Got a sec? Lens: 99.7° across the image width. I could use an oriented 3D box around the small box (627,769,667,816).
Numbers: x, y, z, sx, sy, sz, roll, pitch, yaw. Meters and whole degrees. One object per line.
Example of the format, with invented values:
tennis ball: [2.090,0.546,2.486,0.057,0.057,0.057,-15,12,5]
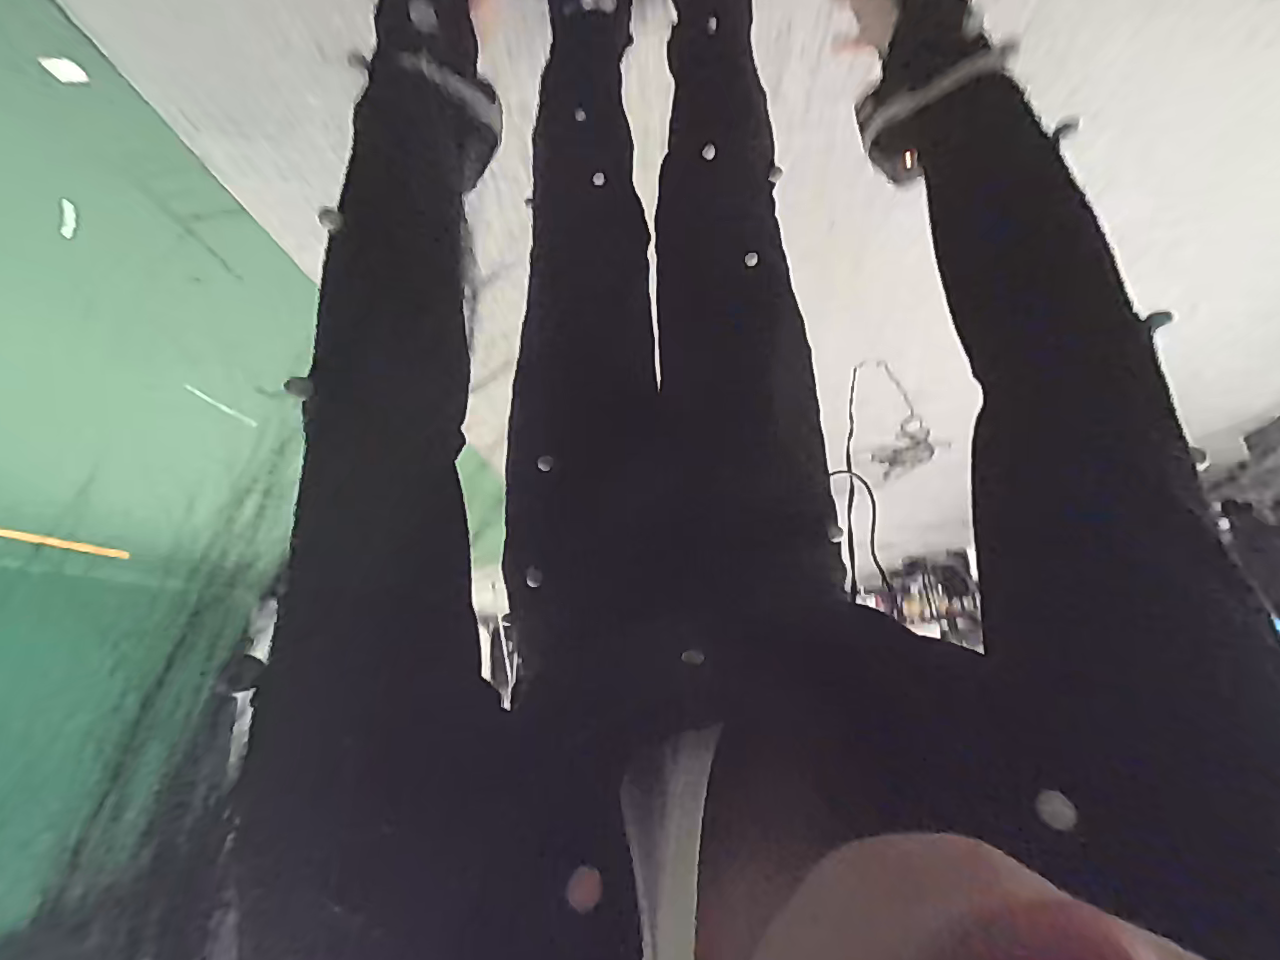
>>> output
small box: [0.029,1.474,2.559,0.179,0.176,0.168,-3,158,-5]
